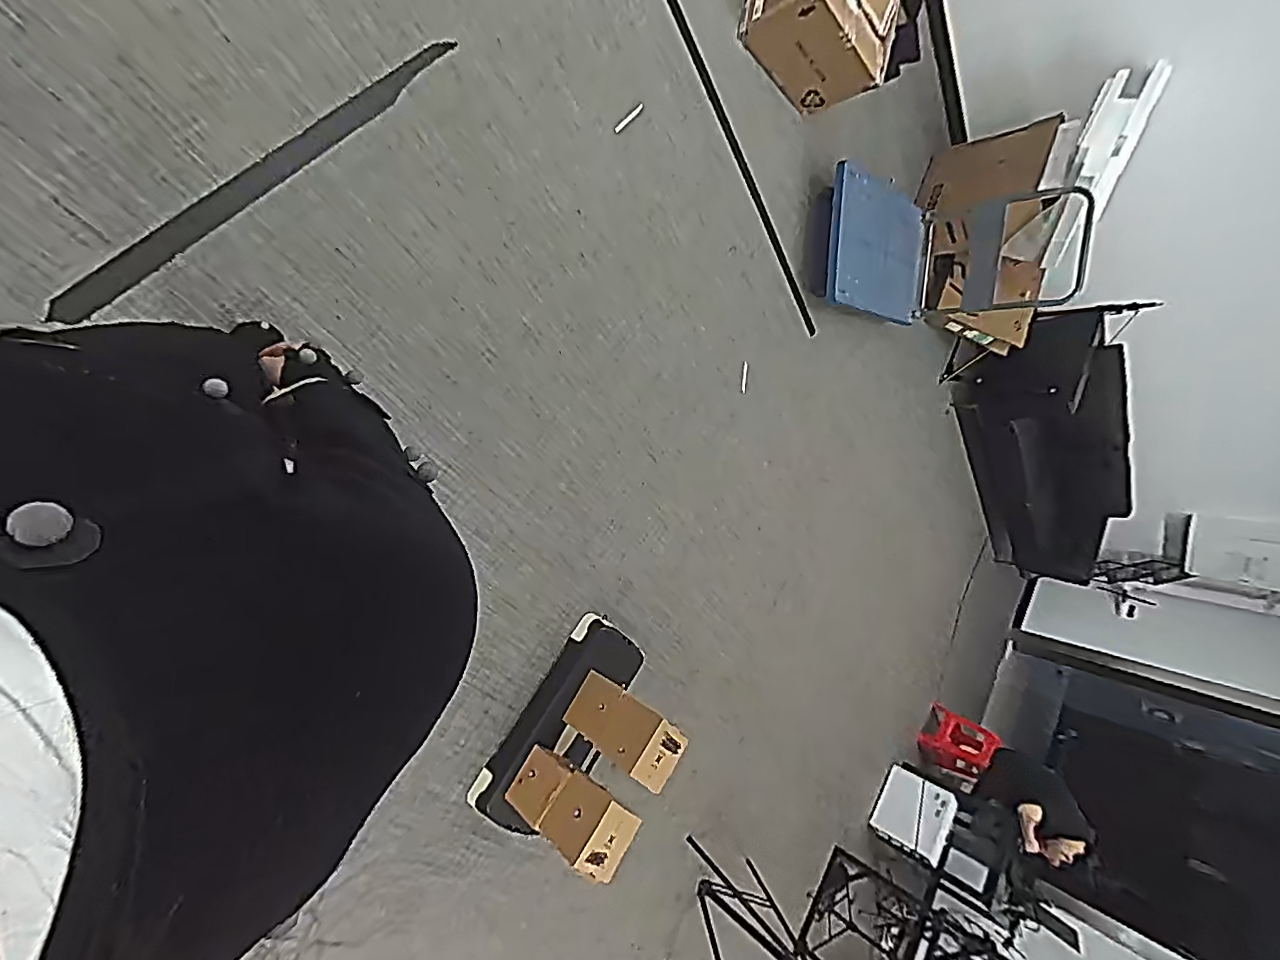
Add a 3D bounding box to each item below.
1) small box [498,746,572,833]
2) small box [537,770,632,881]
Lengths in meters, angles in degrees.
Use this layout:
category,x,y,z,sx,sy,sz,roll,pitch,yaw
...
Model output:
category,x,y,z,sx,sy,sz,roll,pitch,yaw
small box,-0.283,0.925,1.605,0.179,0.176,0.168,48,65,-36
small box,-0.161,0.950,1.496,0.179,0.176,0.168,-53,128,-23
